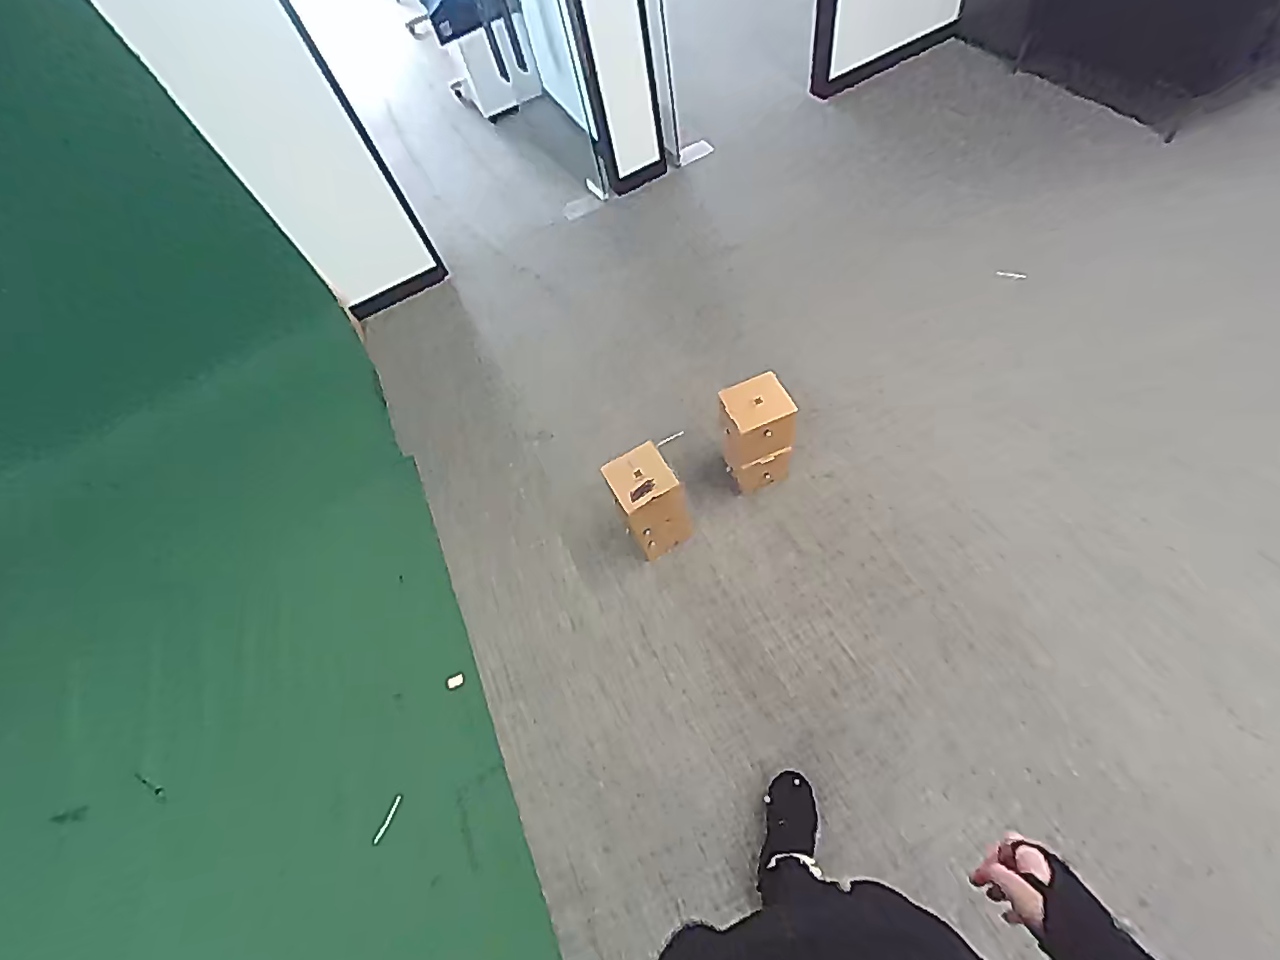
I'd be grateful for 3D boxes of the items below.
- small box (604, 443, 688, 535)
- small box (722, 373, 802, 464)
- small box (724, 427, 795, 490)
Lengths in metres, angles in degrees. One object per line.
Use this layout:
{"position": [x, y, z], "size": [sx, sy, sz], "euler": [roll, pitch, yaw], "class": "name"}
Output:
{"position": [0.023, 0.035, 1.542], "size": [0.168, 0.176, 0.179], "euler": [-30, 57, -6], "class": "small box"}
{"position": [0.355, -0.177, 1.594], "size": [0.179, 0.176, 0.168], "euler": [-23, 58, -1], "class": "small box"}
{"position": [0.379, -0.086, 1.727], "size": [0.168, 0.176, 0.179], "euler": [-21, 59, -1], "class": "small box"}
